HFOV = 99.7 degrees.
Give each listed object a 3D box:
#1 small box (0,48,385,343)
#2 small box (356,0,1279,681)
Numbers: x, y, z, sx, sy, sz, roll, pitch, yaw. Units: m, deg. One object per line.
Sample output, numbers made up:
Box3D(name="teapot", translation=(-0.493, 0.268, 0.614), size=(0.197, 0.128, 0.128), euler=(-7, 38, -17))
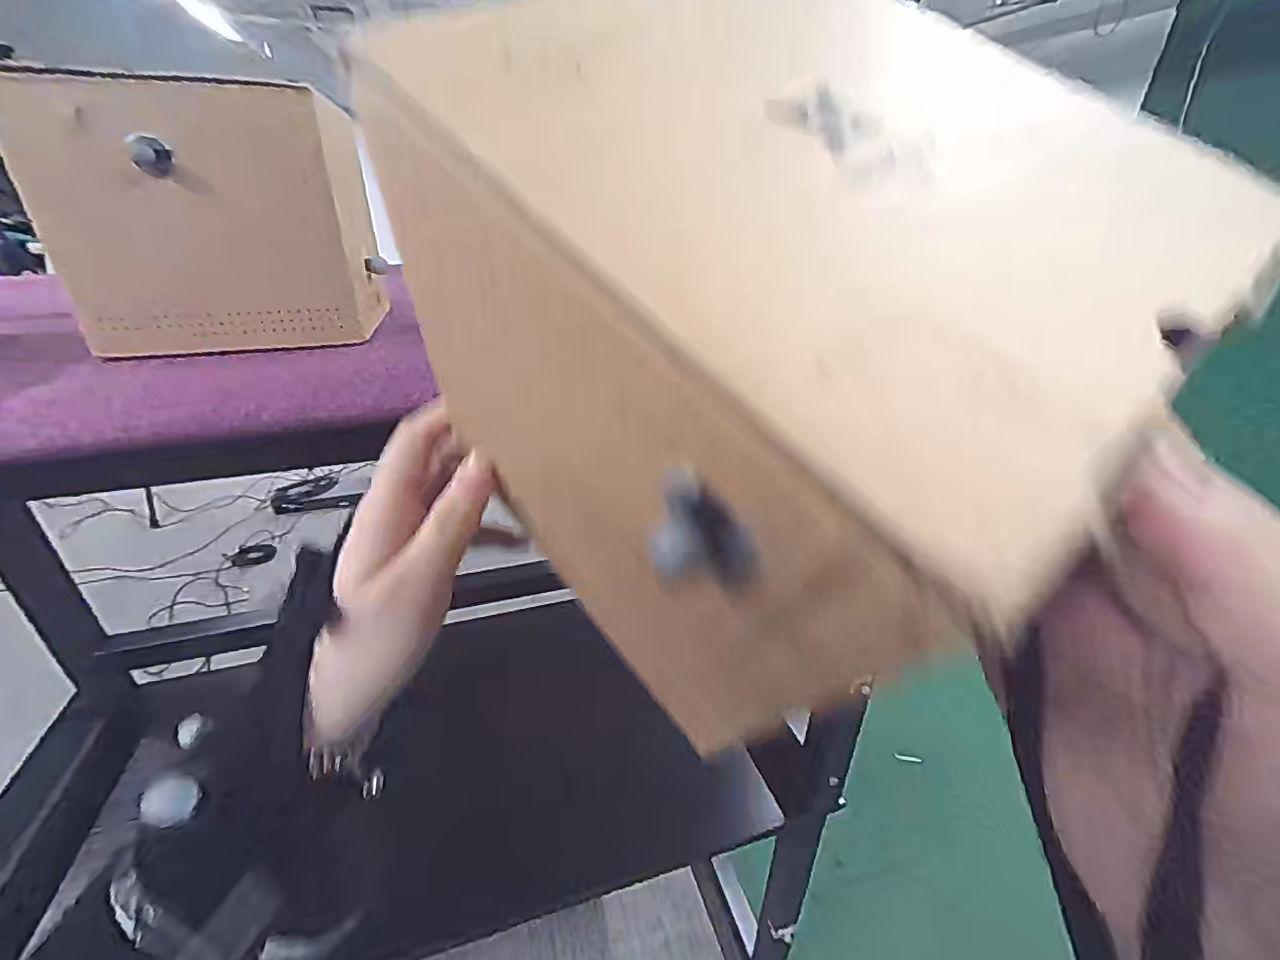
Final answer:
Box3D(name="small box", translation=(-0.319, -0.208, 0.422), size=(0.179, 0.176, 0.168), euler=(-7, 28, -15))
Box3D(name="small box", translation=(0.037, -0.058, 0.192), size=(0.168, 0.176, 0.179), euler=(-35, 69, -24))
